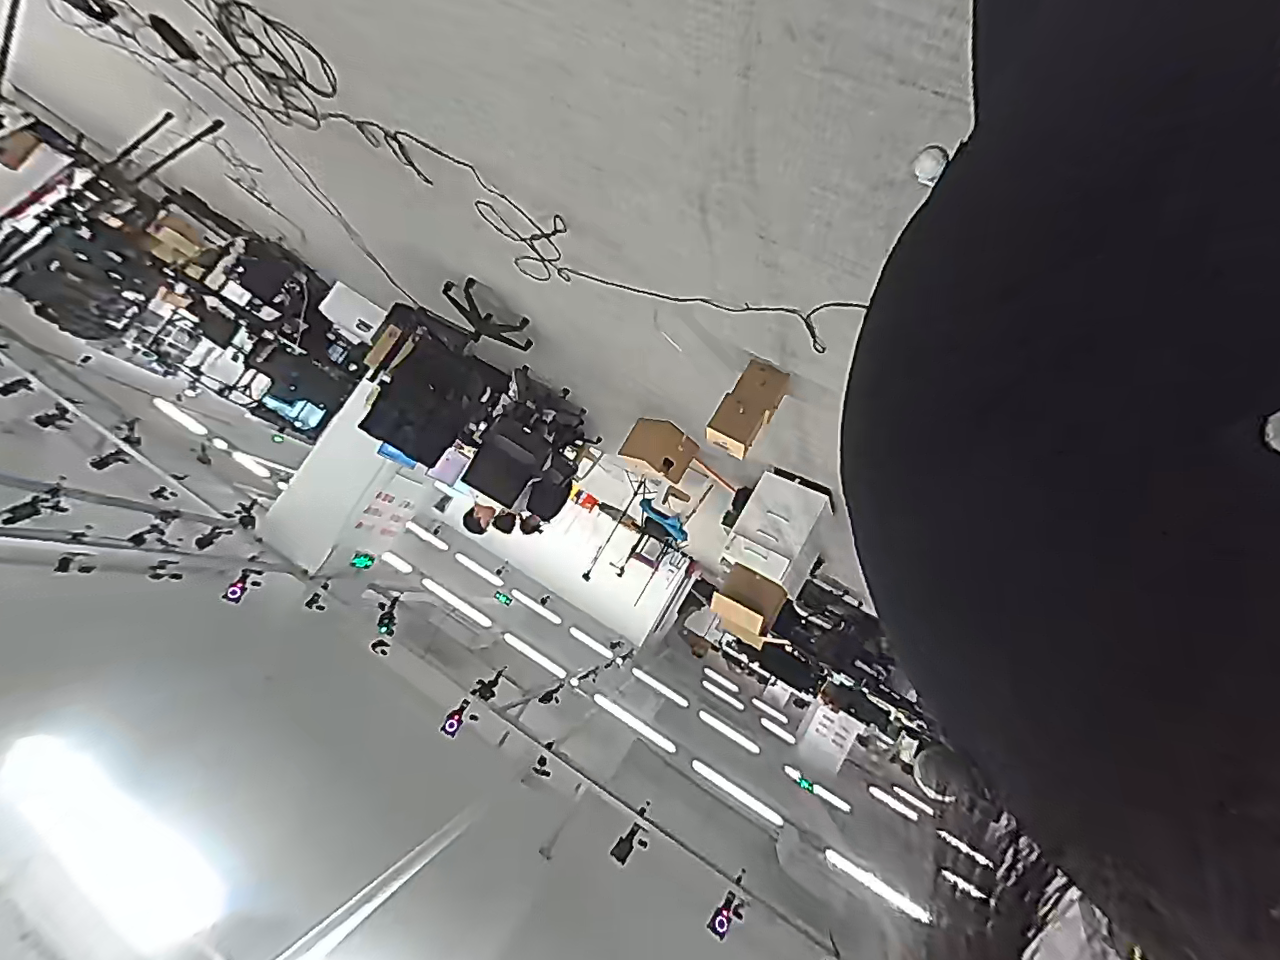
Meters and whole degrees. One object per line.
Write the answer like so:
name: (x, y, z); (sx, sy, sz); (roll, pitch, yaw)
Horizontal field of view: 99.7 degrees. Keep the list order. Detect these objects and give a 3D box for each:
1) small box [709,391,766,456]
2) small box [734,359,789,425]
small box: (0.383, -0.223, 2.130); (0.168, 0.176, 0.179); (28, 170, 14)
small box: (0.480, -0.353, 2.155); (0.168, 0.176, 0.179); (29, 171, 15)
